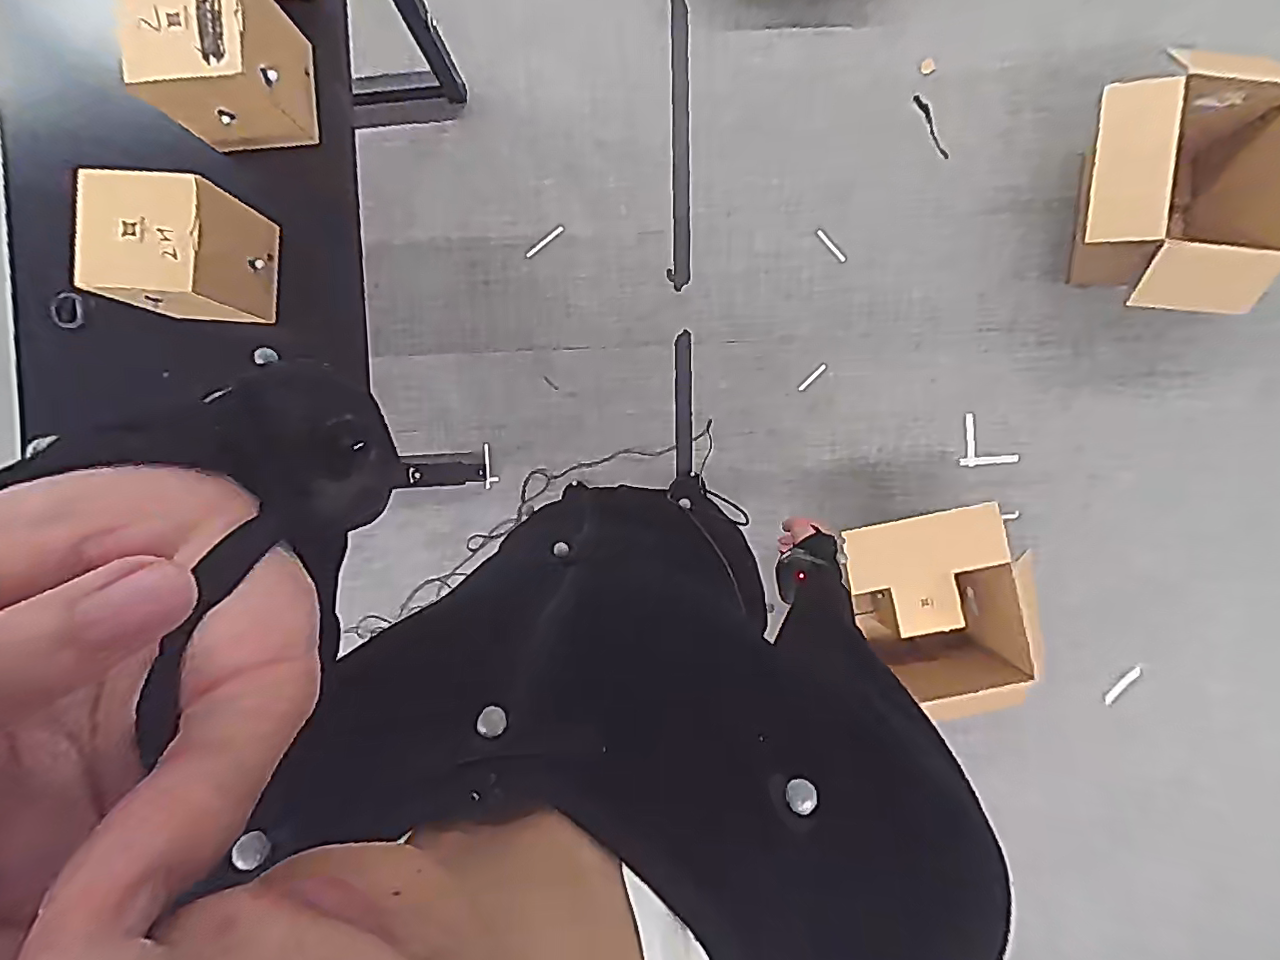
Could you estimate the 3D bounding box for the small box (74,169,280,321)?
[{"bbox_3d":[-0.702,-0.351,0.835,0.179,0.176,0.168,3,92,1],"label":"small box"}]
